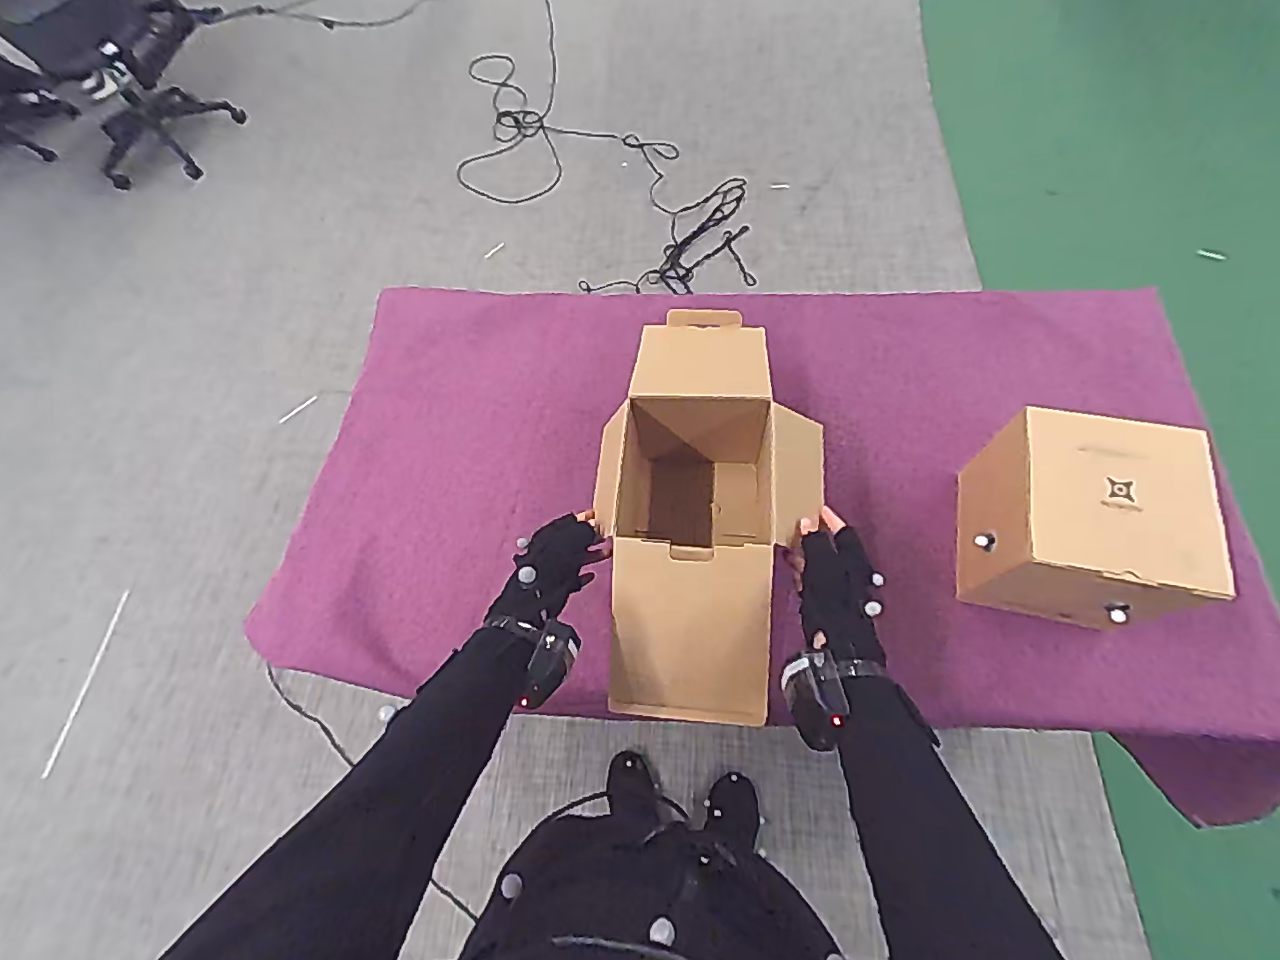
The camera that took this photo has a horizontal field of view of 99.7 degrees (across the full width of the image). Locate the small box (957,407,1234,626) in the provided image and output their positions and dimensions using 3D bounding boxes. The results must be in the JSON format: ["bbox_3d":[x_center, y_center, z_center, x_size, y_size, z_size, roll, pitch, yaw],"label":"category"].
[{"bbox_3d":[0.470,0.048,0.591,0.168,0.176,0.179,11,66,11],"label":"small box"}]
